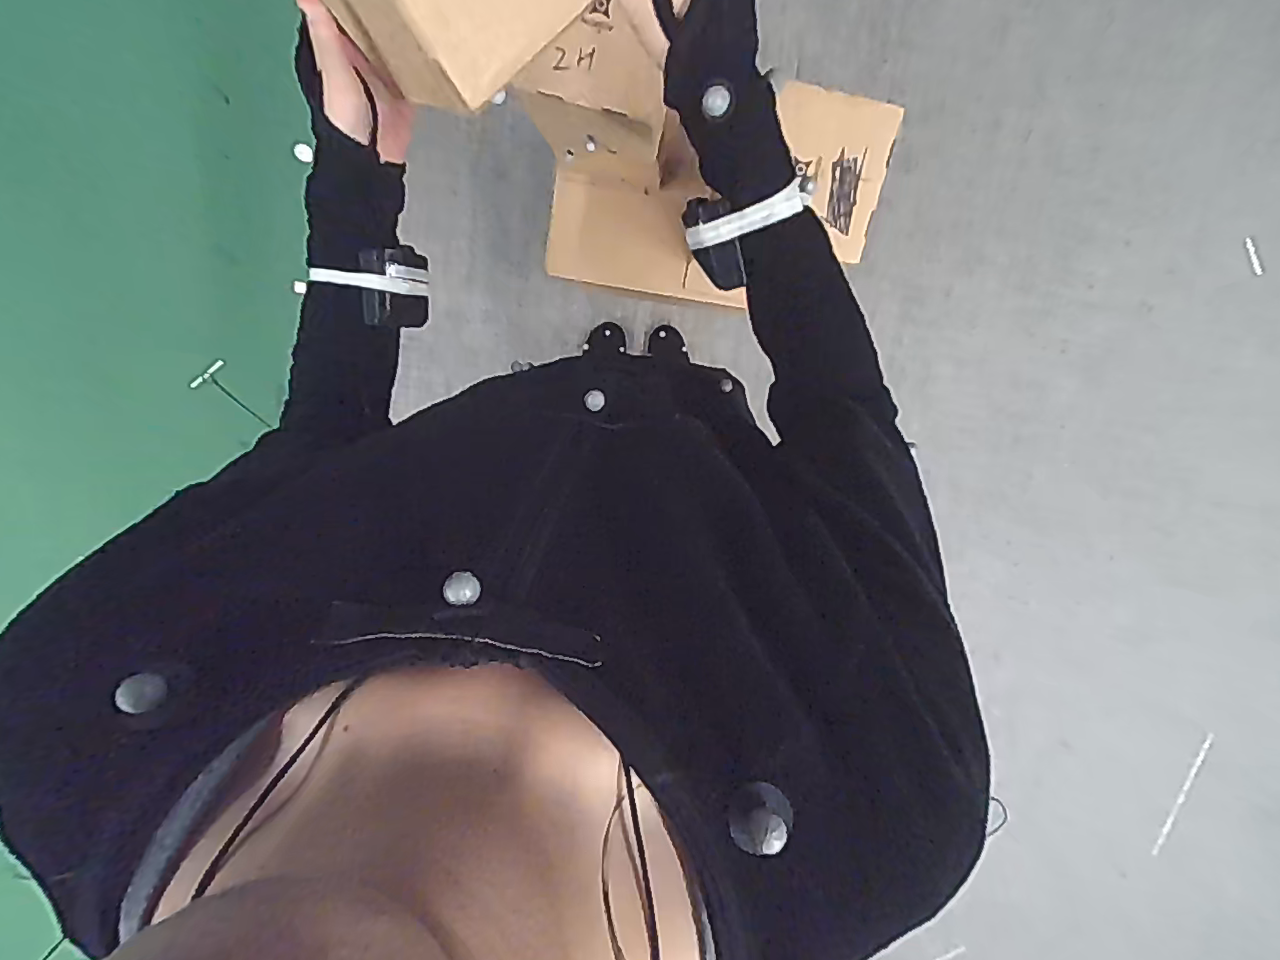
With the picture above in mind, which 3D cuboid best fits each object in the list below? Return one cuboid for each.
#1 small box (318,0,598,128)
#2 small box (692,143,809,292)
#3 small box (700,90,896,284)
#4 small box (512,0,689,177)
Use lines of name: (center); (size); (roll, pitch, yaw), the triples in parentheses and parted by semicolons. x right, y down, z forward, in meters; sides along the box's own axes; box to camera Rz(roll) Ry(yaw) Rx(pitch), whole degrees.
small box: (-0.123, -0.348, 0.316); (0.176, 0.179, 0.168); (-44, 138, -2)
small box: (0.184, -0.398, 0.851); (0.179, 0.176, 0.168); (12, 107, -1)
small box: (0.185, -0.356, 0.694); (0.179, 0.176, 0.168); (12, 105, -2)
small box: (-0.042, -0.506, 0.663); (0.168, 0.176, 0.179); (15, 105, -1)
